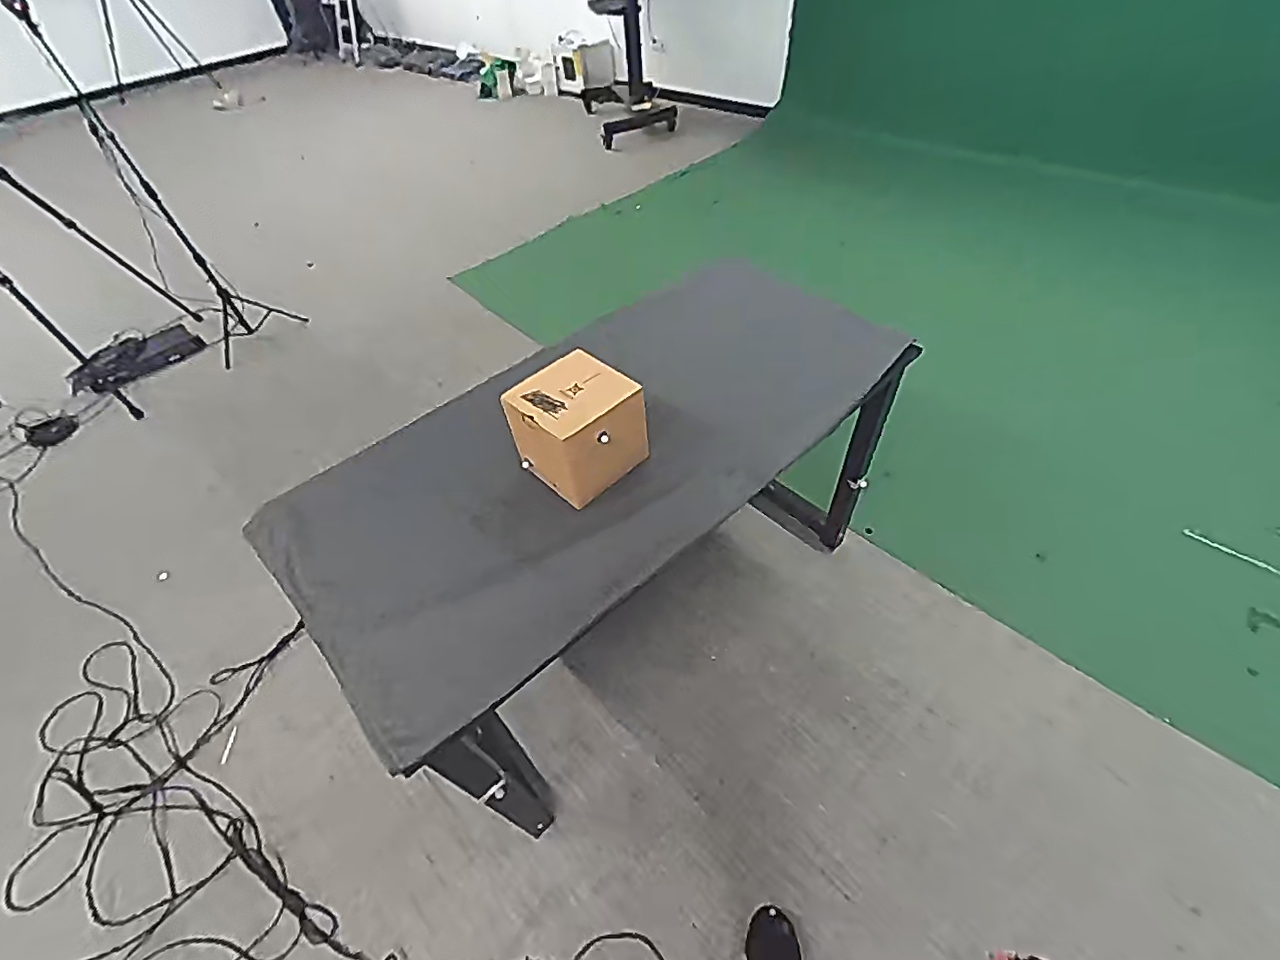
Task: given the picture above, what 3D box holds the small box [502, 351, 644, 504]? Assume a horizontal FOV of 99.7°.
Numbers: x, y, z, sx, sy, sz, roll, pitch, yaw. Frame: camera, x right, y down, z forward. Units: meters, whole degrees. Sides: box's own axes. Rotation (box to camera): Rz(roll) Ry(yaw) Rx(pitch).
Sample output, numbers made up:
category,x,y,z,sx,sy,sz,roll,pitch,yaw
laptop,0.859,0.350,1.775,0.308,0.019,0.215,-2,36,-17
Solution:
category,x,y,z,sx,sy,sz,roll,pitch,yaw
small box,-0.107,-0.090,0.949,0.179,0.176,0.168,-38,56,-25
